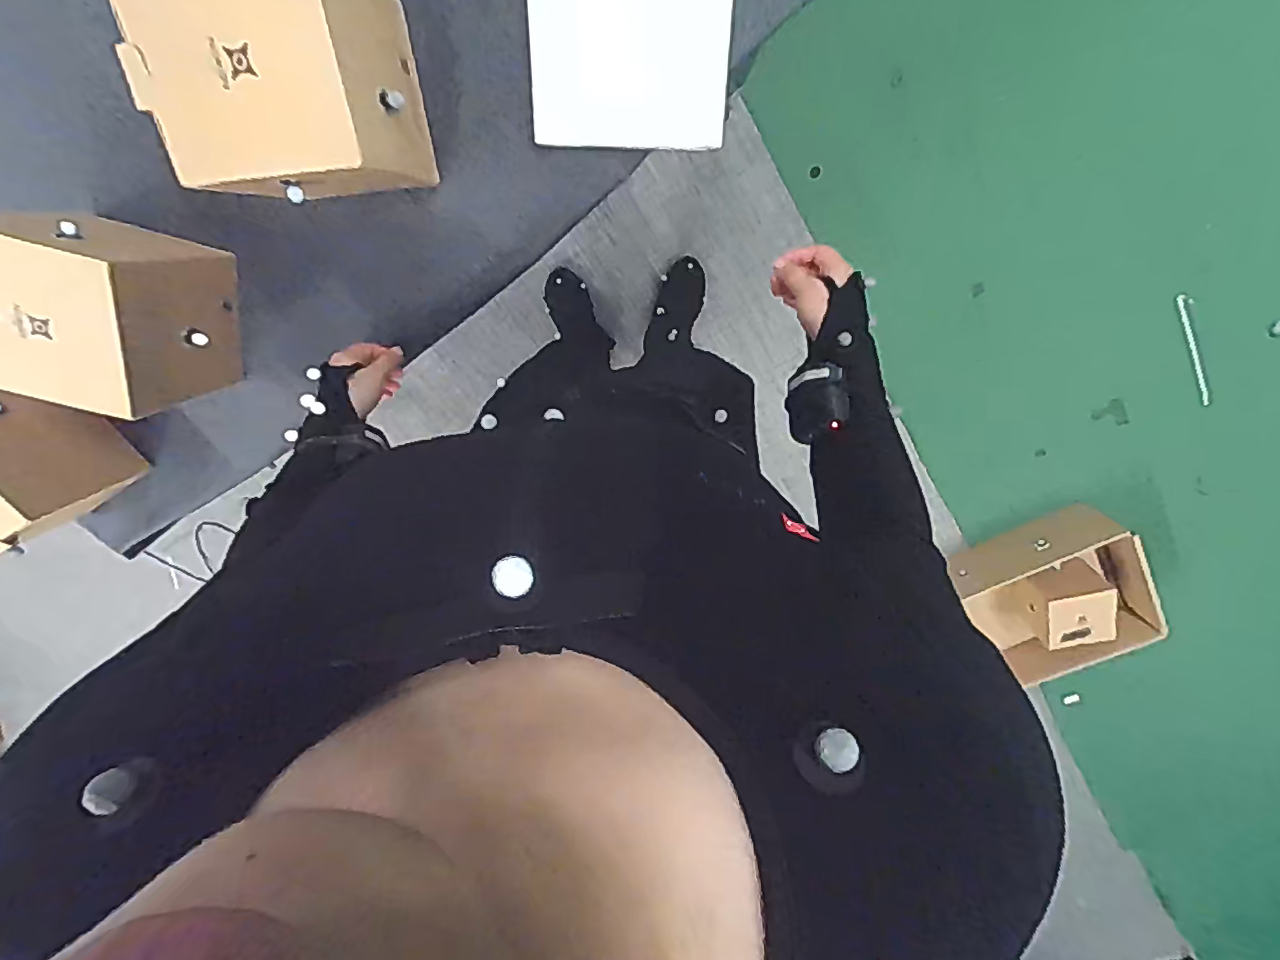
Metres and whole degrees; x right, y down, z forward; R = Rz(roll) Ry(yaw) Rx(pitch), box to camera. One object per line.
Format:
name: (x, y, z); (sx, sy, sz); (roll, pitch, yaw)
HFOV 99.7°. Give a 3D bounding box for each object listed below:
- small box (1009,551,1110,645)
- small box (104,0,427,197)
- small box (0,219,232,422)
small box: (1.164, 0.328, 1.513); (0.168, 0.176, 0.179); (-15, 115, 11)
small box: (-0.321, -0.367, 0.505); (0.179, 0.176, 0.168); (-3, 115, 6)
small box: (-0.596, -0.186, 0.606); (0.179, 0.176, 0.168); (15, 115, -3)
